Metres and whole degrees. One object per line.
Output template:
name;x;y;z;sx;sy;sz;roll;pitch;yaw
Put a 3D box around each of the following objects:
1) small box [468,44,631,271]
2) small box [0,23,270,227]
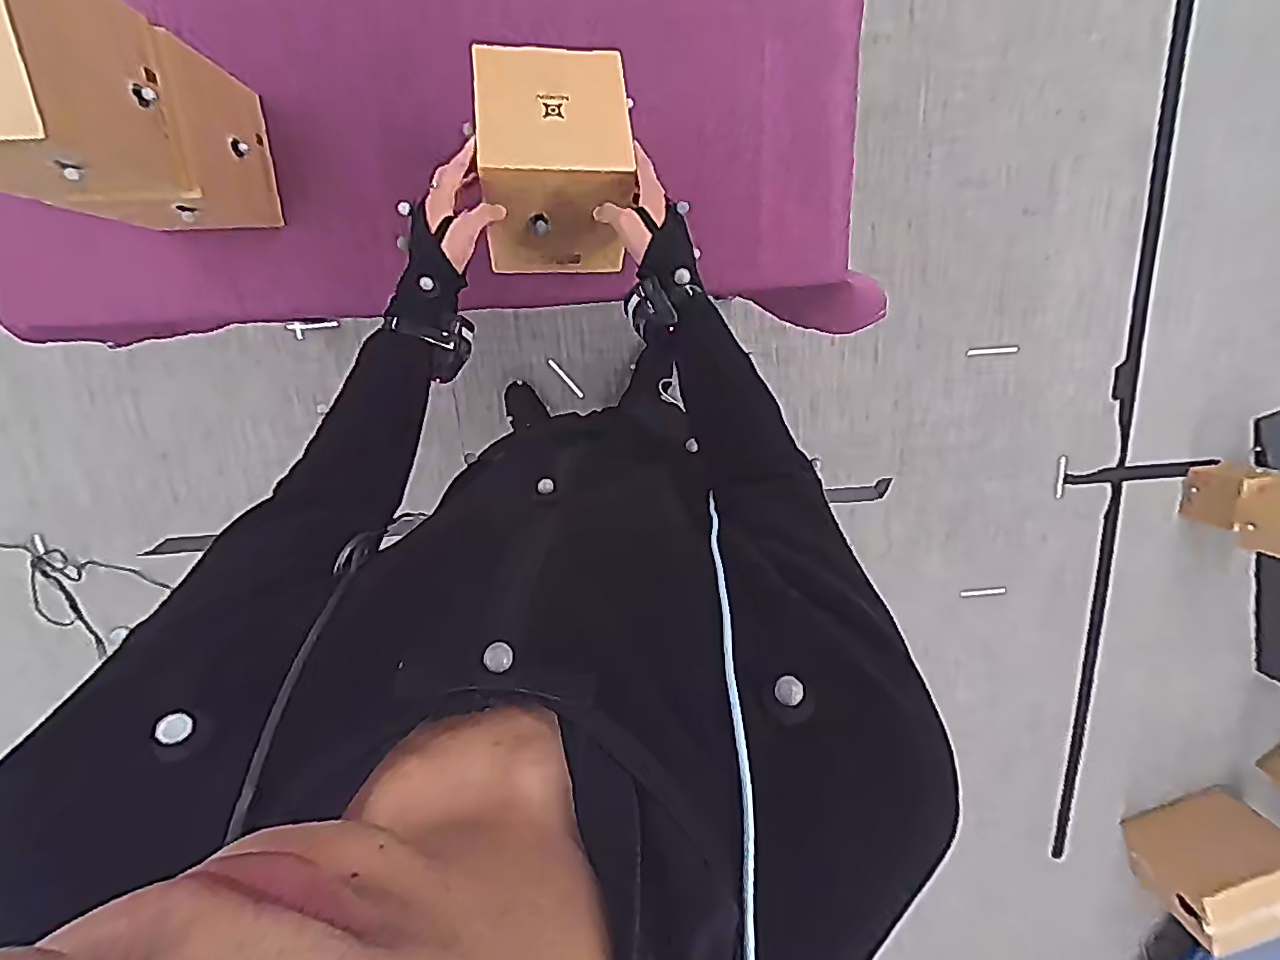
small box;-0.107;-0.372;0.649;0.168;0.176;0.179;-5;71;-10
small box;-0.585;-0.411;0.654;0.179;0.176;0.168;-3;105;-3
